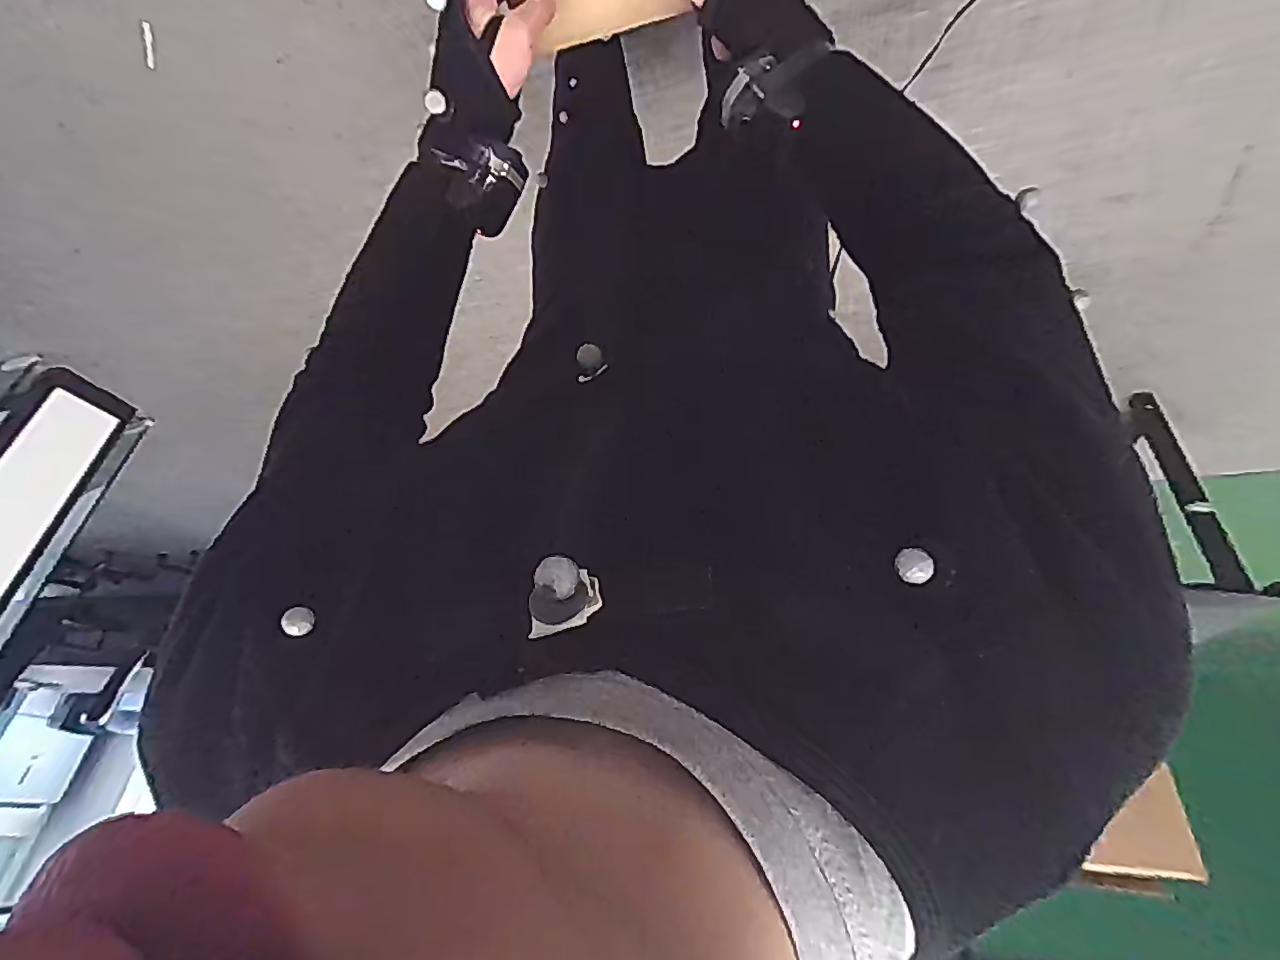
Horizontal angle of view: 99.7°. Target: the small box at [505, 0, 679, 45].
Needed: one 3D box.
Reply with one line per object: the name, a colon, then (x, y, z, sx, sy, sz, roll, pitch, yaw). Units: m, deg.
small box: (-0.040, -0.508, 0.459, 0.179, 0.176, 0.168, -10, 138, 10)
